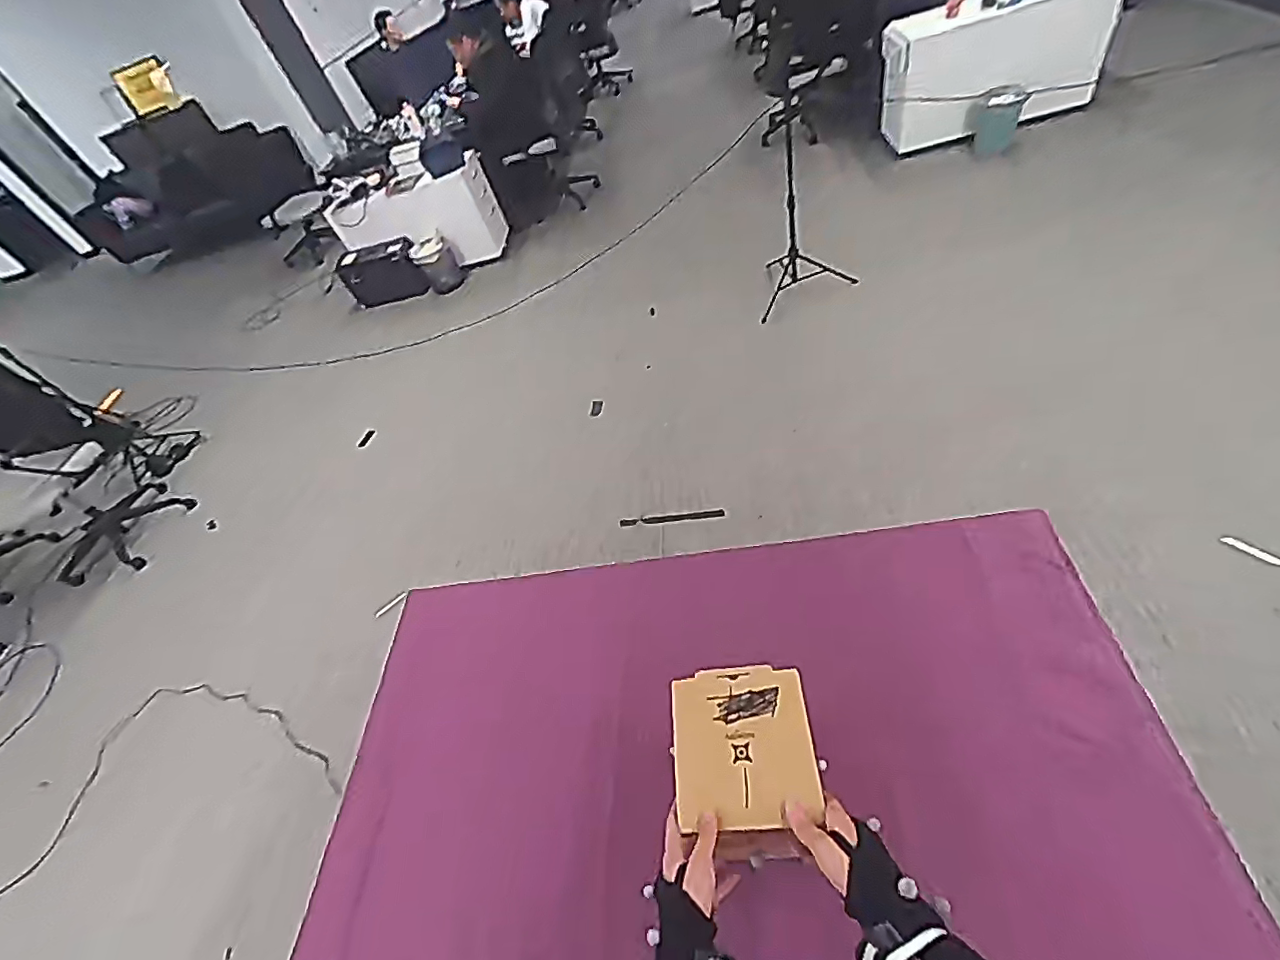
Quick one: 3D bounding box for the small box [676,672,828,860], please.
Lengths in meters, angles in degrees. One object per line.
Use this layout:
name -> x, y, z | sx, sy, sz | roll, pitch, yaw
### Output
small box -> 0.141, 0.373, 0.703 | 0.168, 0.176, 0.179 | -9, 45, 11
